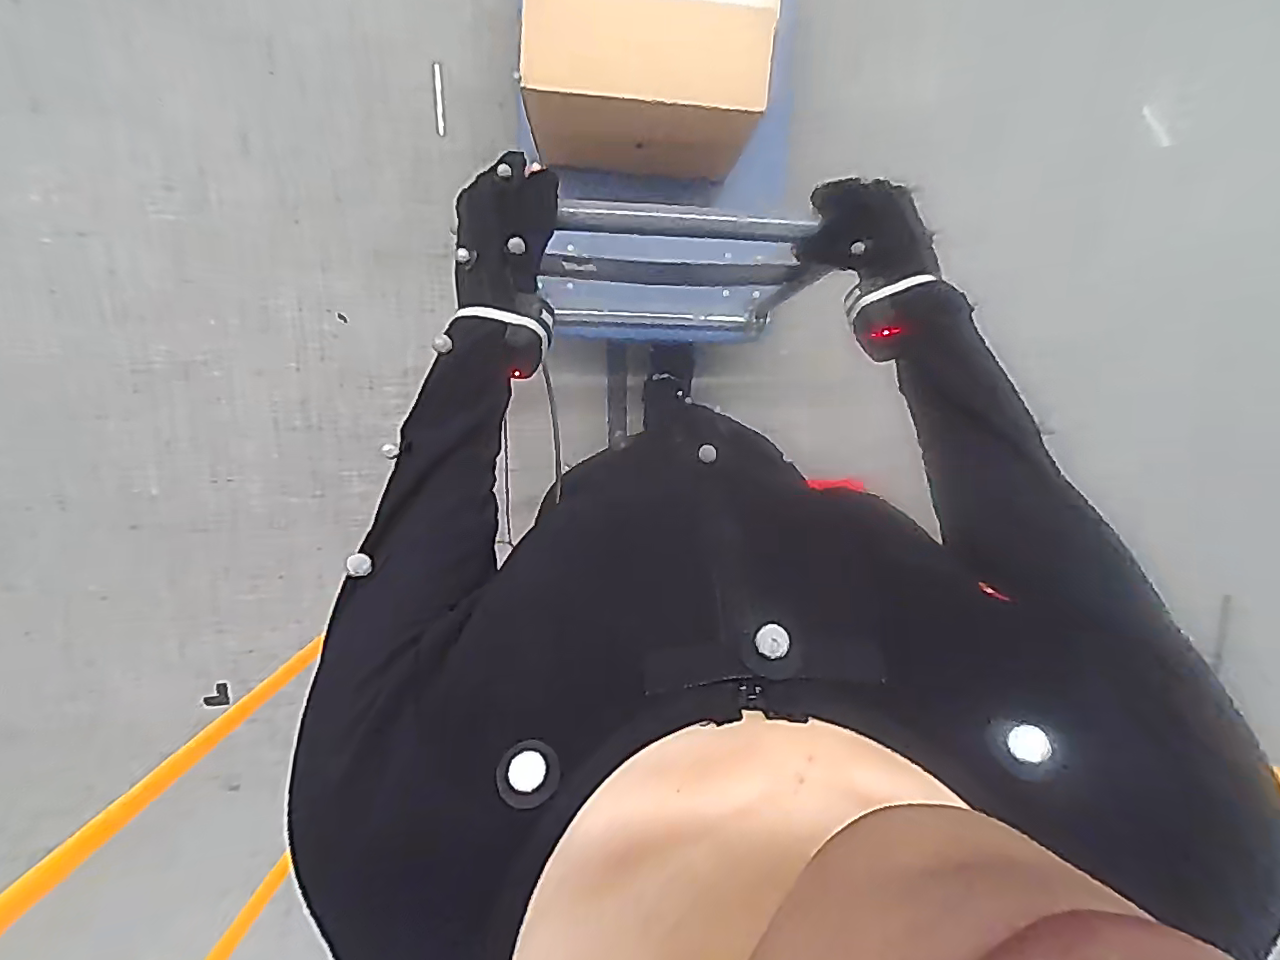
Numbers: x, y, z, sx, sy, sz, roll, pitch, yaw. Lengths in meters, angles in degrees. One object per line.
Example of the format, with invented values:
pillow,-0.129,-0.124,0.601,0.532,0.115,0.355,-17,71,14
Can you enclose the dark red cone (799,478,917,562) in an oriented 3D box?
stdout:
dark red cone,0.545,0.123,1.320,0.201,0.394,0.202,-2,100,-5

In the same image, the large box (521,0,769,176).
large box,0.006,-0.795,1.008,0.408,0.320,0.320,3,99,-3

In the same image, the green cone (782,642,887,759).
green cone,0.532,0.599,1.417,0.202,0.368,0.200,2,99,-5
